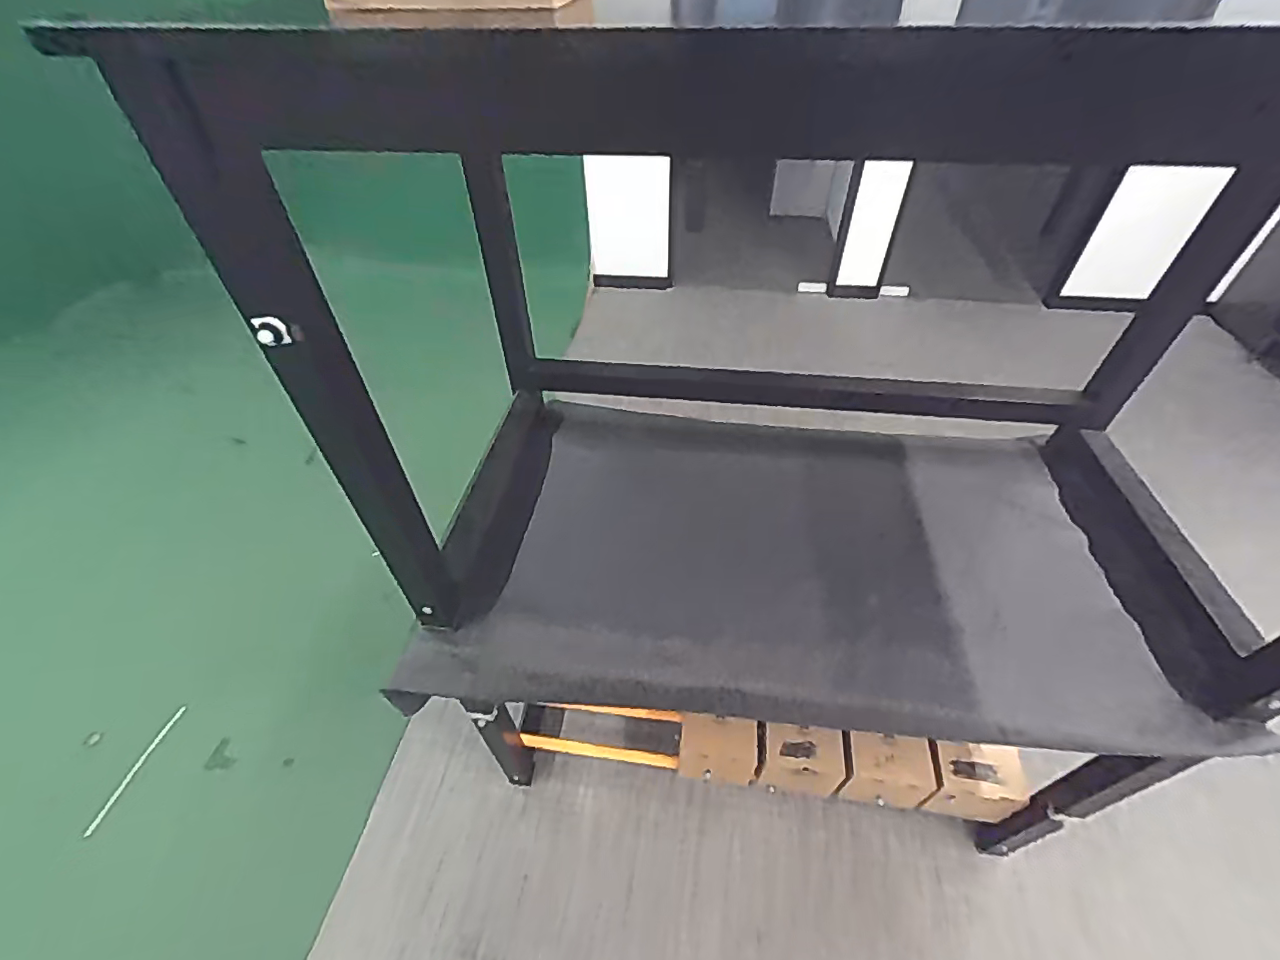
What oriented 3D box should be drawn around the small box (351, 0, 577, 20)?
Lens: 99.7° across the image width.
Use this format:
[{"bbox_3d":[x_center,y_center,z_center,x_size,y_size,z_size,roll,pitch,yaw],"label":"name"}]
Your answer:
[{"bbox_3d":[-0.128,-0.448,0.386,0.168,0.176,0.179,1,45,4],"label":"small box"}]
